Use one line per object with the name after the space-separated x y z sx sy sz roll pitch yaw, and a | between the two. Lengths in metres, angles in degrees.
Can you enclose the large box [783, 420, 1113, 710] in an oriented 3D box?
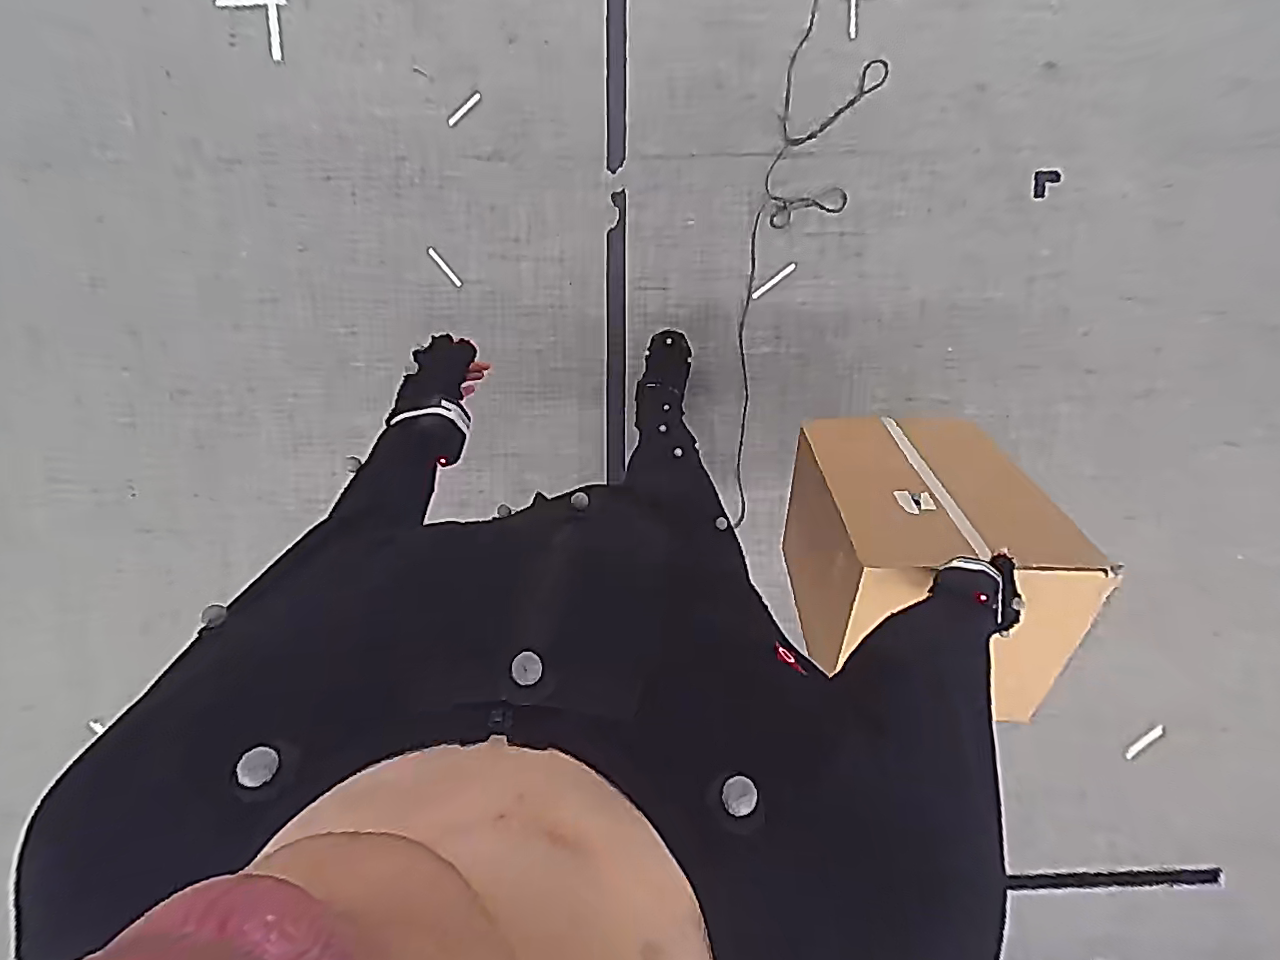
0.456 0.126 0.936 0.320 0.408 0.320 0 124 3 | large box
